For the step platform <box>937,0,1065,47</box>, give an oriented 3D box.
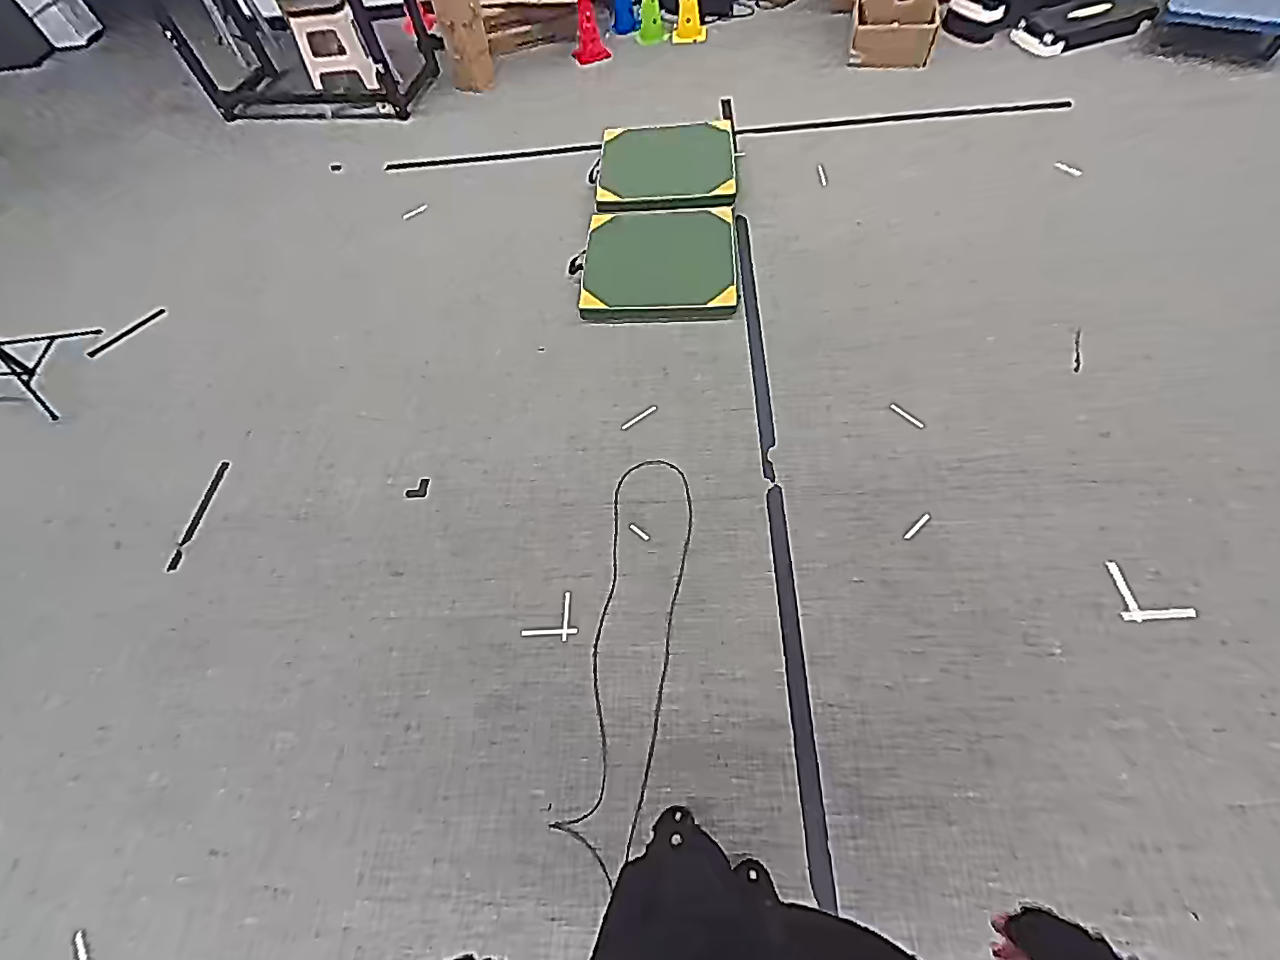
[{"bbox_3d":[2.004,-2.617,2.957,0.684,0.204,0.286,-27,61,-10],"label":"step platform"}]
